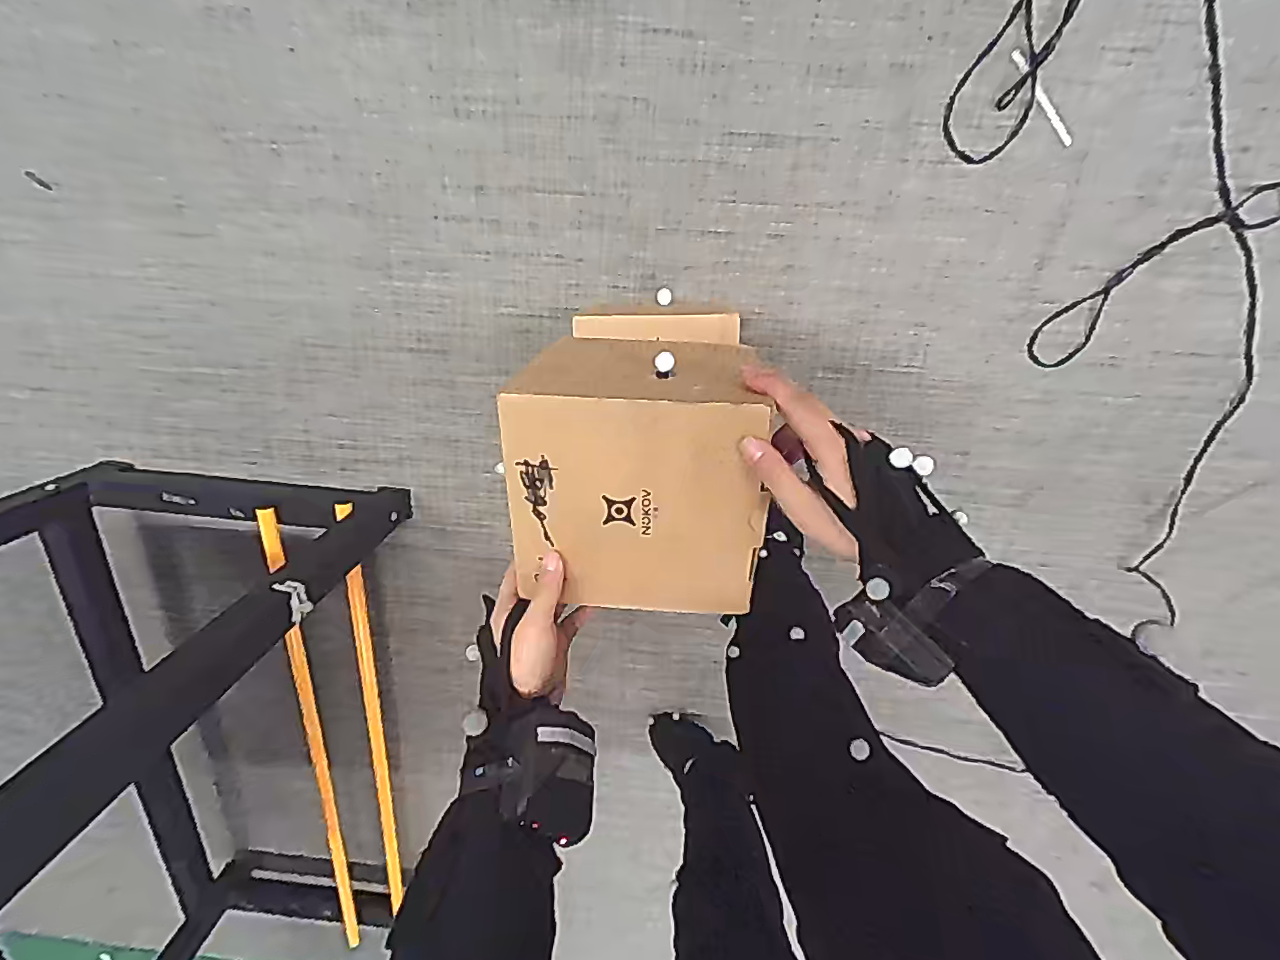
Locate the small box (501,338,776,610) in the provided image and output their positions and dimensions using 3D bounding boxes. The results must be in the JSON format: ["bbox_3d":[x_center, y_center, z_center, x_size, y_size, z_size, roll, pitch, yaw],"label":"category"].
[{"bbox_3d":[0.003,-0.016,0.443,0.179,0.176,0.168,3,117,5],"label":"small box"}]

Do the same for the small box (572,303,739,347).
[{"bbox_3d":[0.020,-0.107,0.626,0.168,0.176,0.179,1,111,4],"label":"small box"}]
